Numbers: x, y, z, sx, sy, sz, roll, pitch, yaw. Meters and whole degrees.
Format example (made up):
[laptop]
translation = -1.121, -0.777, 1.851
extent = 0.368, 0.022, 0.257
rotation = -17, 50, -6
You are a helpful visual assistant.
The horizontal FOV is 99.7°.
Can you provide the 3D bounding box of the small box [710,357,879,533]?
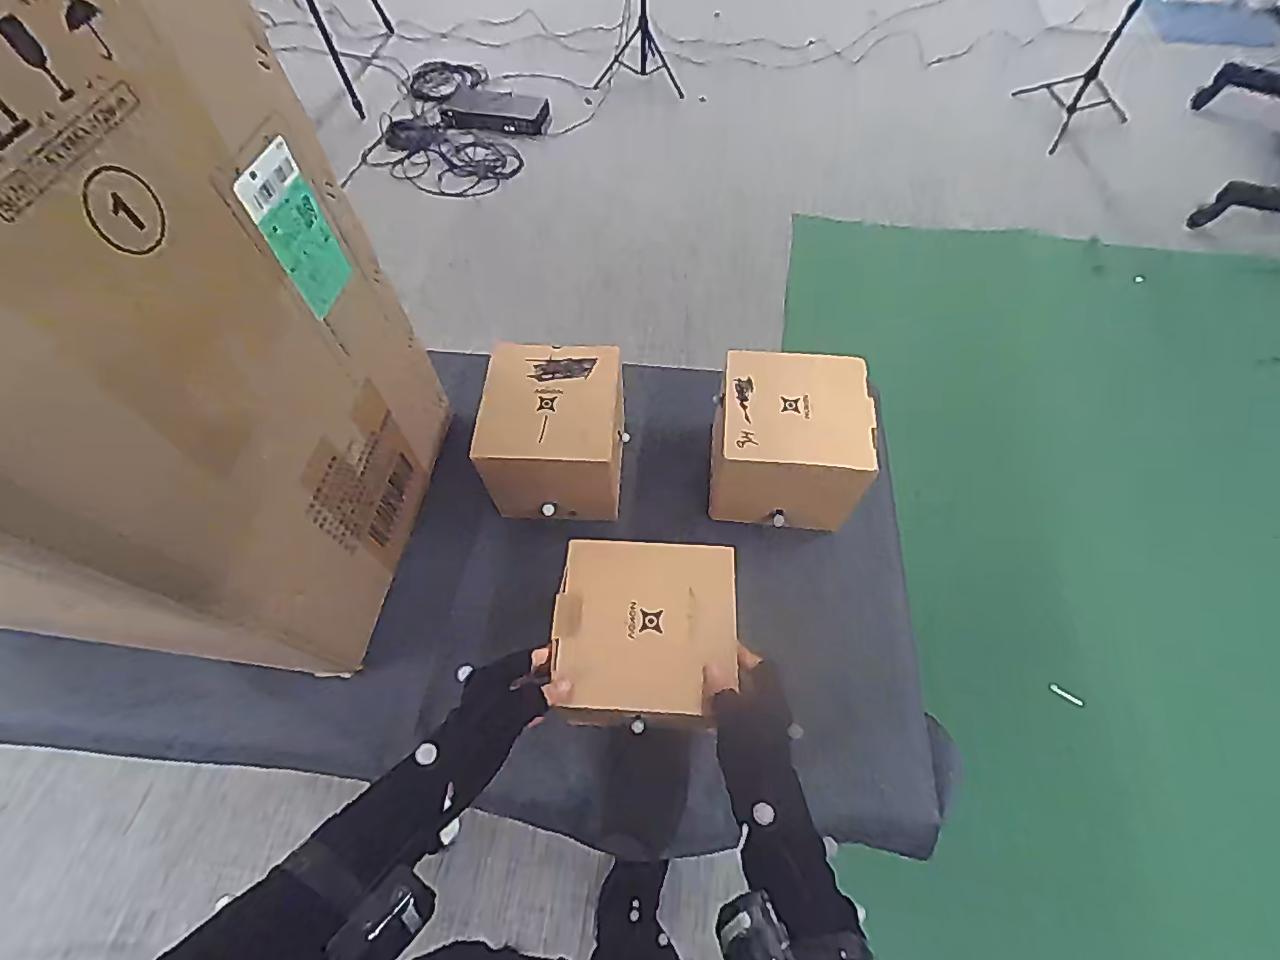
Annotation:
[small box]
translation = 0.195, -0.040, 0.725
extent = 0.179, 0.176, 0.168
rotation = 6, 60, 3
